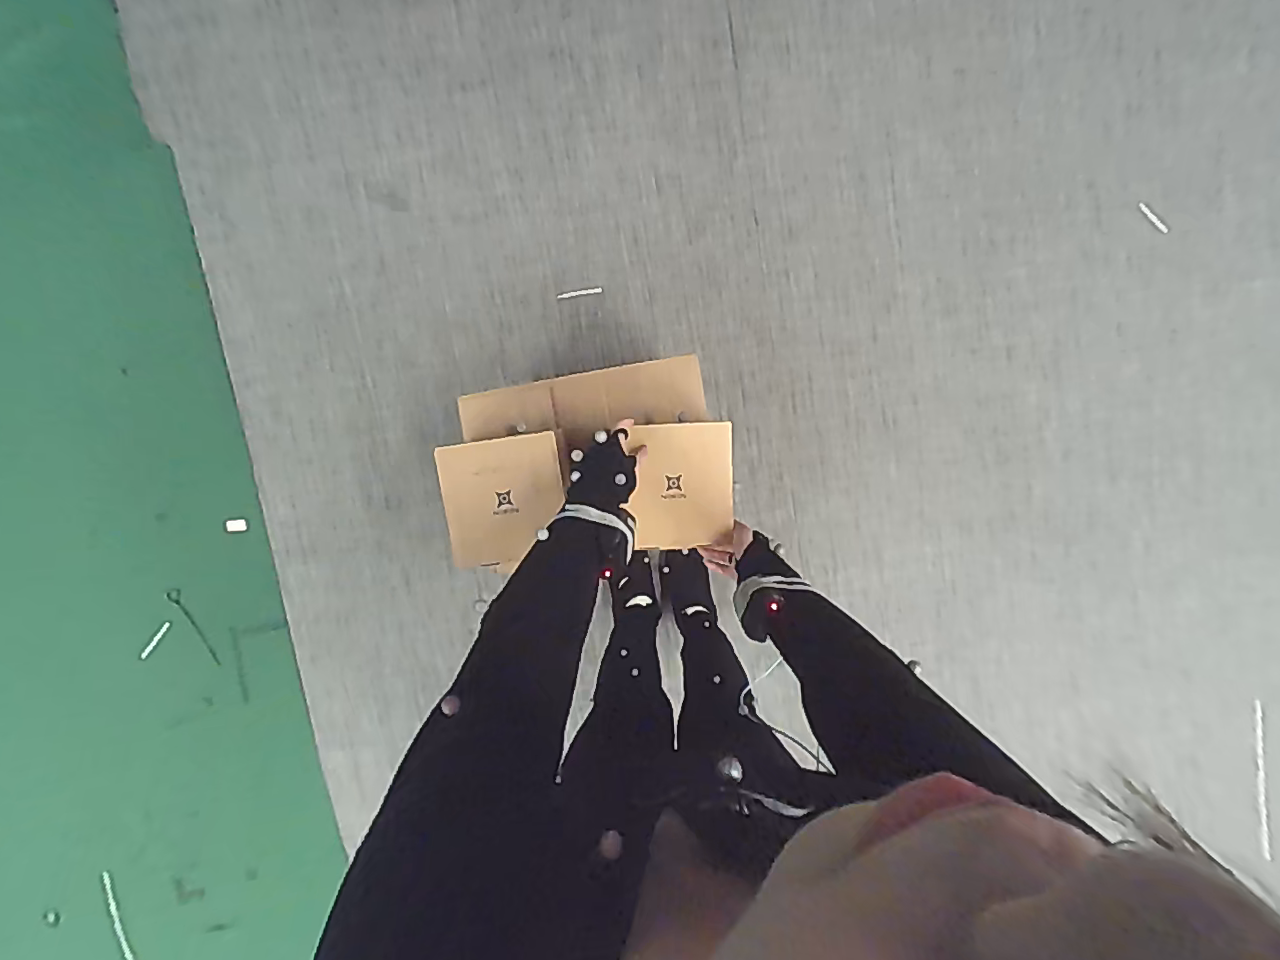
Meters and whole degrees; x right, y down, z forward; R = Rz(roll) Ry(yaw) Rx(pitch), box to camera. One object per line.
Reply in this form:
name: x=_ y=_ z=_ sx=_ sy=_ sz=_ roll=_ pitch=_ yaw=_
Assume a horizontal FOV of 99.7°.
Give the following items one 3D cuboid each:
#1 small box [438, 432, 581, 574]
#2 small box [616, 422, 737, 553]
small box: x=-0.184 y=0.025 z=0.817 sx=0.168 sy=0.176 sz=0.179 roll=-8 pitch=97 yaw=-2
small box: x=0.049 y=0.004 z=0.817 sx=0.168 sy=0.176 sz=0.179 roll=-3 pitch=97 yaw=0
